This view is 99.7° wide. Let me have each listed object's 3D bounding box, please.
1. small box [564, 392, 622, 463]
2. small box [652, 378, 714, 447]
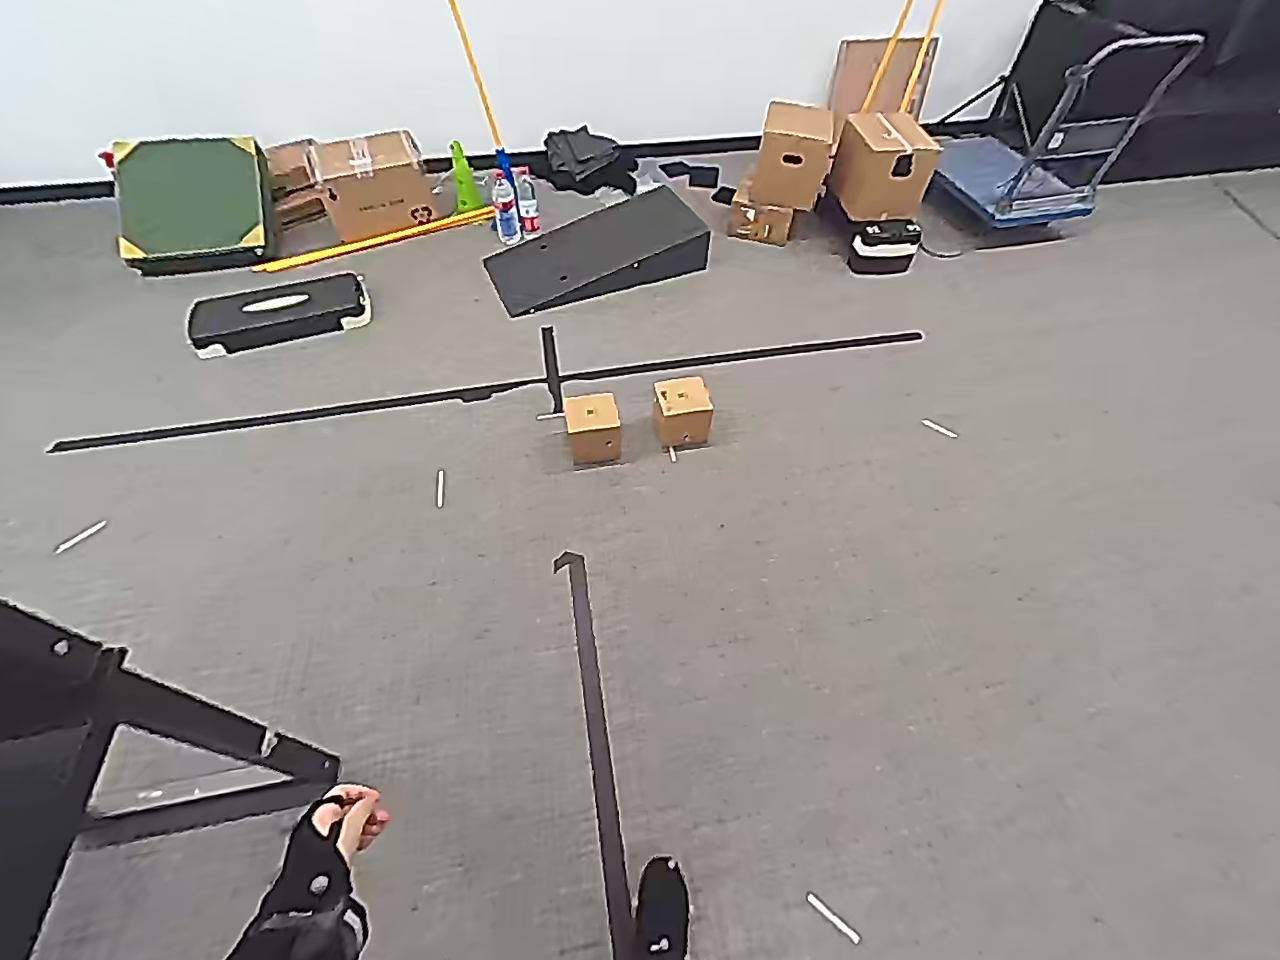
[{"bbox_3d":[-0.163,-0.178,1.867,0.179,0.176,0.168,-8,53,-8],"label":"small box"},{"bbox_3d":[0.148,-0.238,1.922,0.179,0.176,0.168,-8,53,-8],"label":"small box"}]
